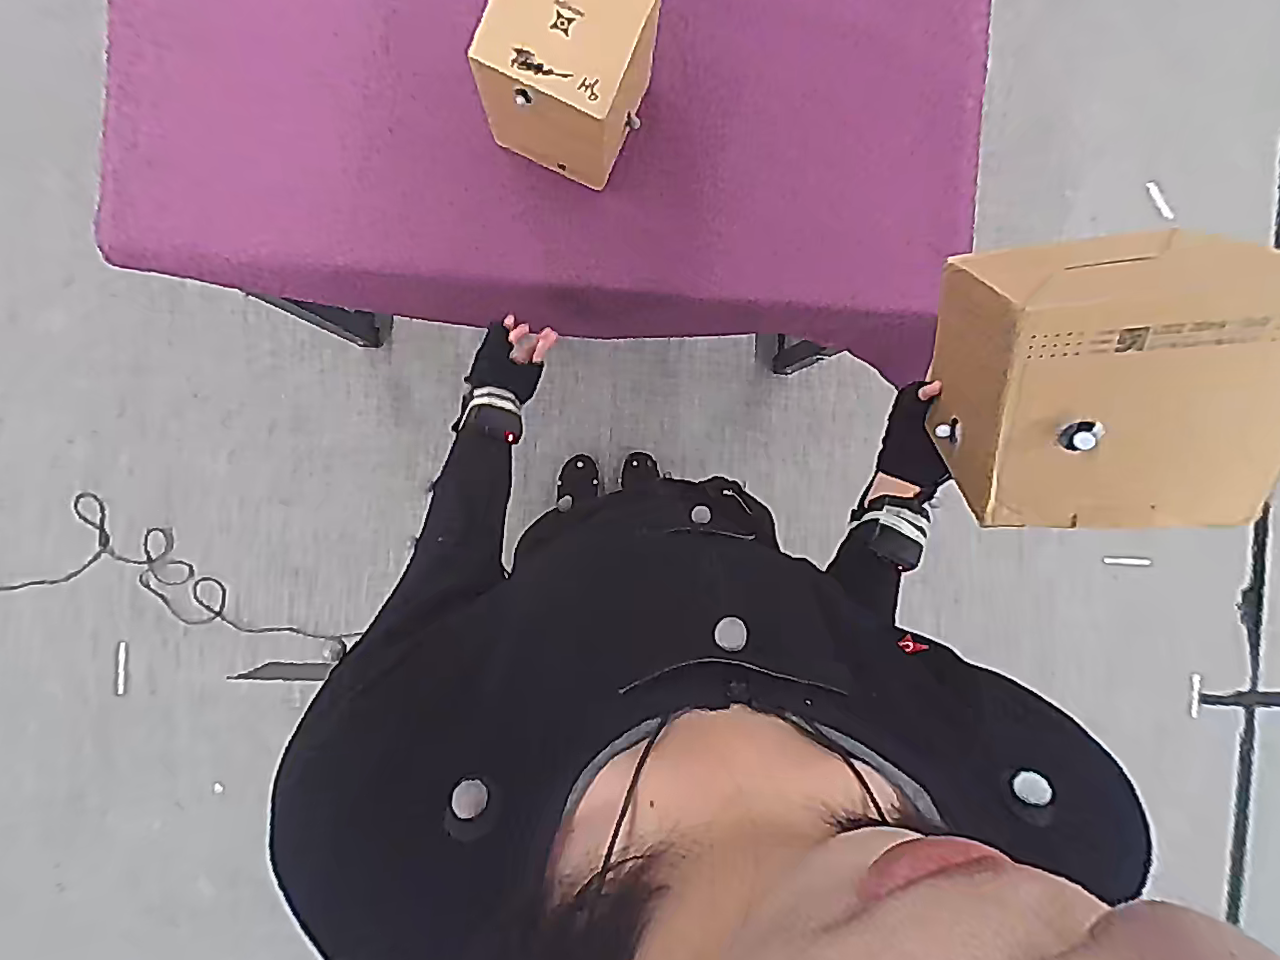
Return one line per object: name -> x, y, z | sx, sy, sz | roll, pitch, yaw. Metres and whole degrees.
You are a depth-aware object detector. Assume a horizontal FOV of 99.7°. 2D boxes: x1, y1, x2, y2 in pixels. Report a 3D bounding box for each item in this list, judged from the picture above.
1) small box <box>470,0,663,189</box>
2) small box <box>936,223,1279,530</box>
small box -> -0.088, -0.512, 0.674 | 0.168, 0.176, 0.179 | 23, 89, -5
small box -> 0.339, -0.080, 0.400 | 0.168, 0.179, 0.176 | -1, 121, 14
